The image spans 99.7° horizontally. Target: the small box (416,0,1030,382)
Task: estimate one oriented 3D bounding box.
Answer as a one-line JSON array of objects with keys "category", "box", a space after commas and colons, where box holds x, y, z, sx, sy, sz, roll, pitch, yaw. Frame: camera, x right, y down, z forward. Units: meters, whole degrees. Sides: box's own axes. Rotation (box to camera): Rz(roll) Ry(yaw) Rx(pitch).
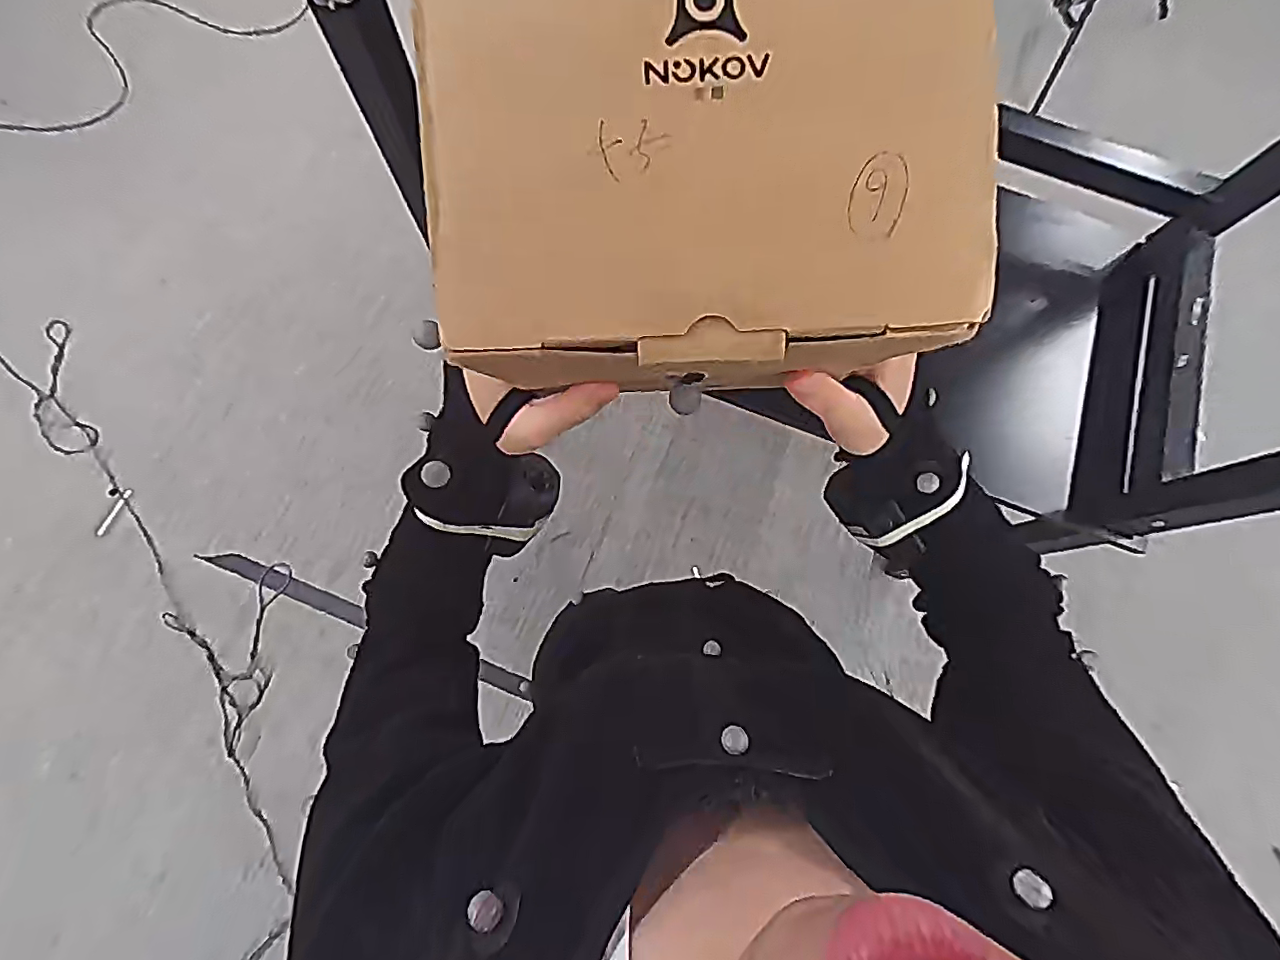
[{"category": "small box", "box": [0.021, -0.133, 0.225, 0.168, 0.176, 0.179, -3, 96, -2]}]
